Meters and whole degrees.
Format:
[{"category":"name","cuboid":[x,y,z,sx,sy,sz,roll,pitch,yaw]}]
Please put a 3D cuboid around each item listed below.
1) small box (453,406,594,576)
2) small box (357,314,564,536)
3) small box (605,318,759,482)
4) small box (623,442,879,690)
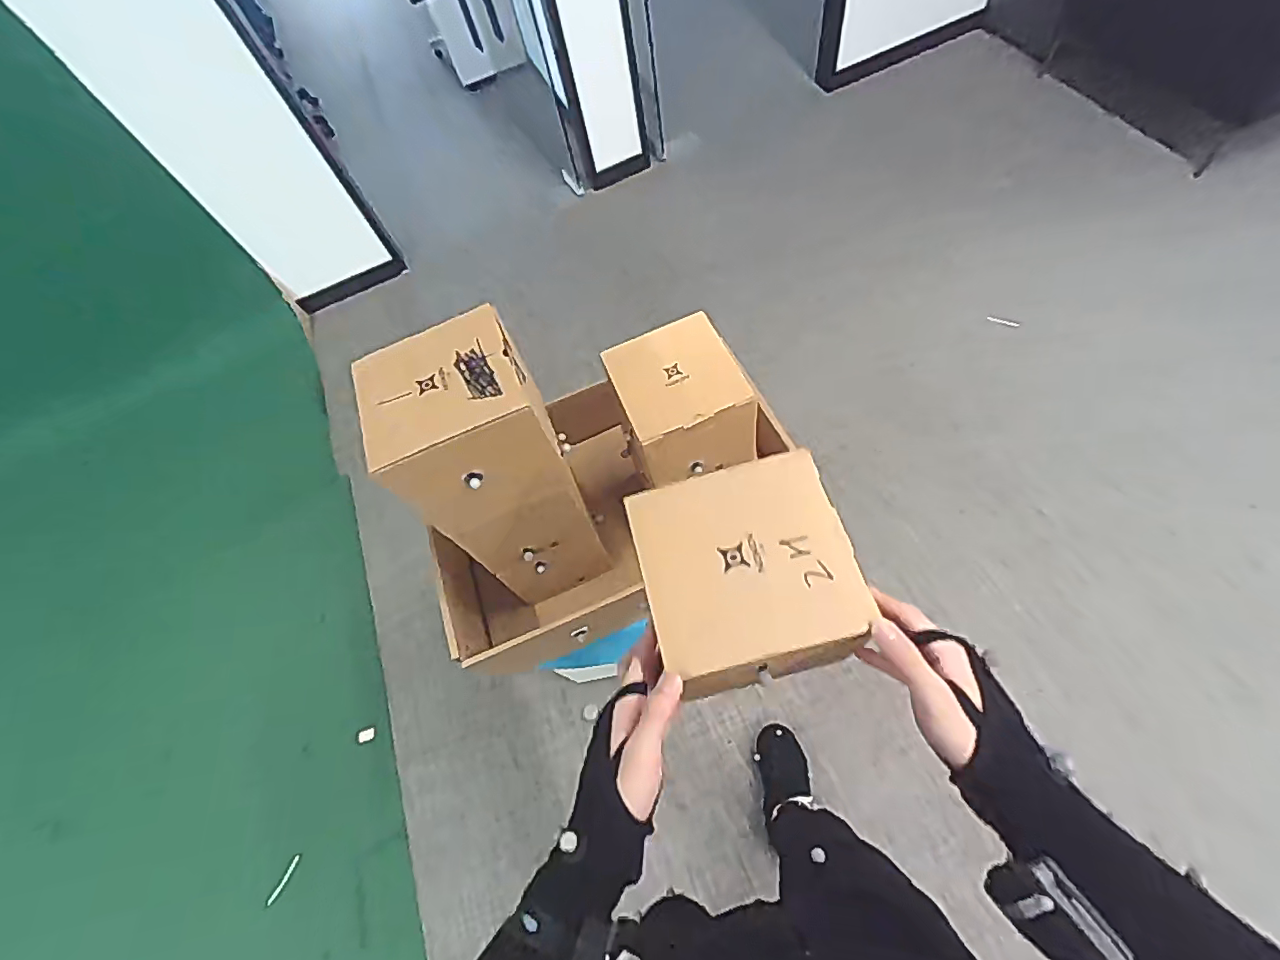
[{"category":"small box","cuboid":[-0.182,0.015,0.796,0.168,0.176,0.179,-22,60,-2]},{"category":"small box","cuboid":[-0.204,-0.059,0.652,0.179,0.176,0.168,-23,59,-3]},{"category":"small box","cuboid":[0.064,-0.100,0.809,0.168,0.176,0.179,-23,60,-2]},{"category":"small box","cuboid":[0.097,0.093,0.521,0.179,0.176,0.168,-15,62,1]}]
